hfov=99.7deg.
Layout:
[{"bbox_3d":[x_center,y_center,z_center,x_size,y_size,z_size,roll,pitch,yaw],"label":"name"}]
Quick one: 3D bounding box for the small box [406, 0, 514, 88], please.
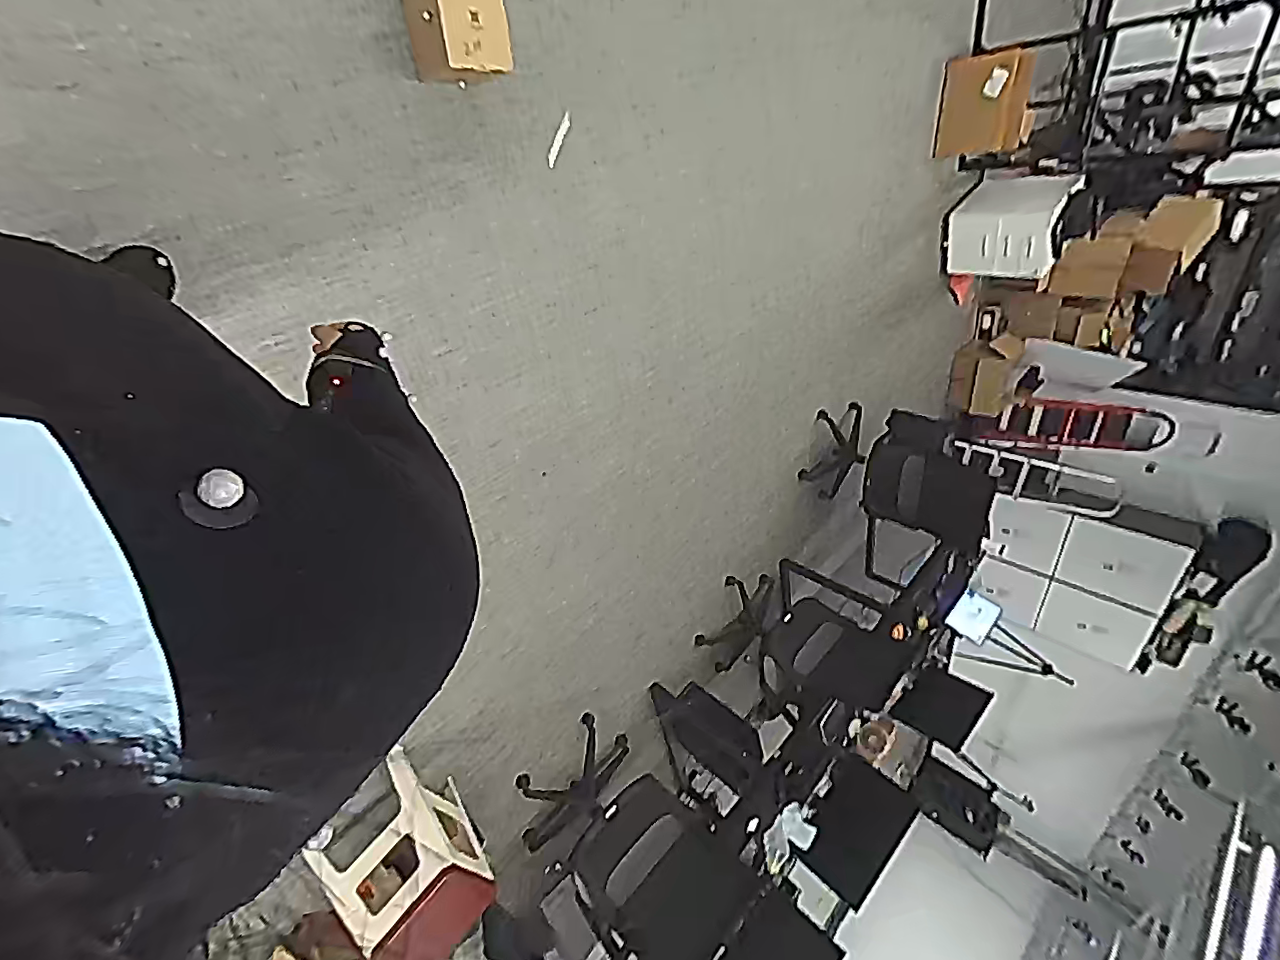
[{"bbox_3d":[-0.418,-1.033,1.249,0.168,0.176,0.179,-26,125,-35],"label":"small box"}]
